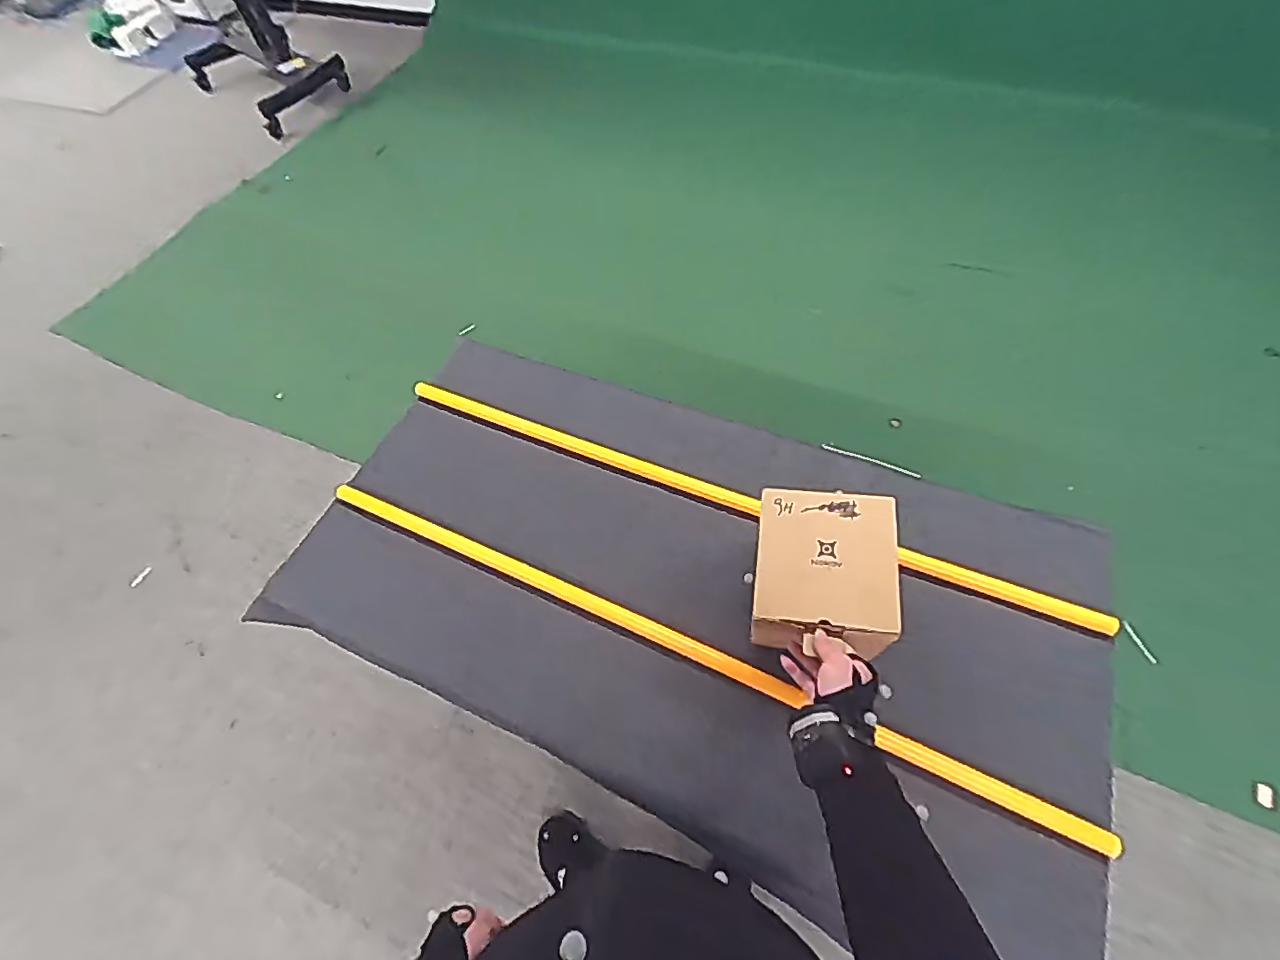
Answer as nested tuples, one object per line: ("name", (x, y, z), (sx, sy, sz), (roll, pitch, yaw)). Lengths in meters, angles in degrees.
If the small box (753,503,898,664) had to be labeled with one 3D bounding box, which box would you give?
("small box", (0.244, 0.146, 0.739), (0.168, 0.176, 0.179), (1, 61, 14))
